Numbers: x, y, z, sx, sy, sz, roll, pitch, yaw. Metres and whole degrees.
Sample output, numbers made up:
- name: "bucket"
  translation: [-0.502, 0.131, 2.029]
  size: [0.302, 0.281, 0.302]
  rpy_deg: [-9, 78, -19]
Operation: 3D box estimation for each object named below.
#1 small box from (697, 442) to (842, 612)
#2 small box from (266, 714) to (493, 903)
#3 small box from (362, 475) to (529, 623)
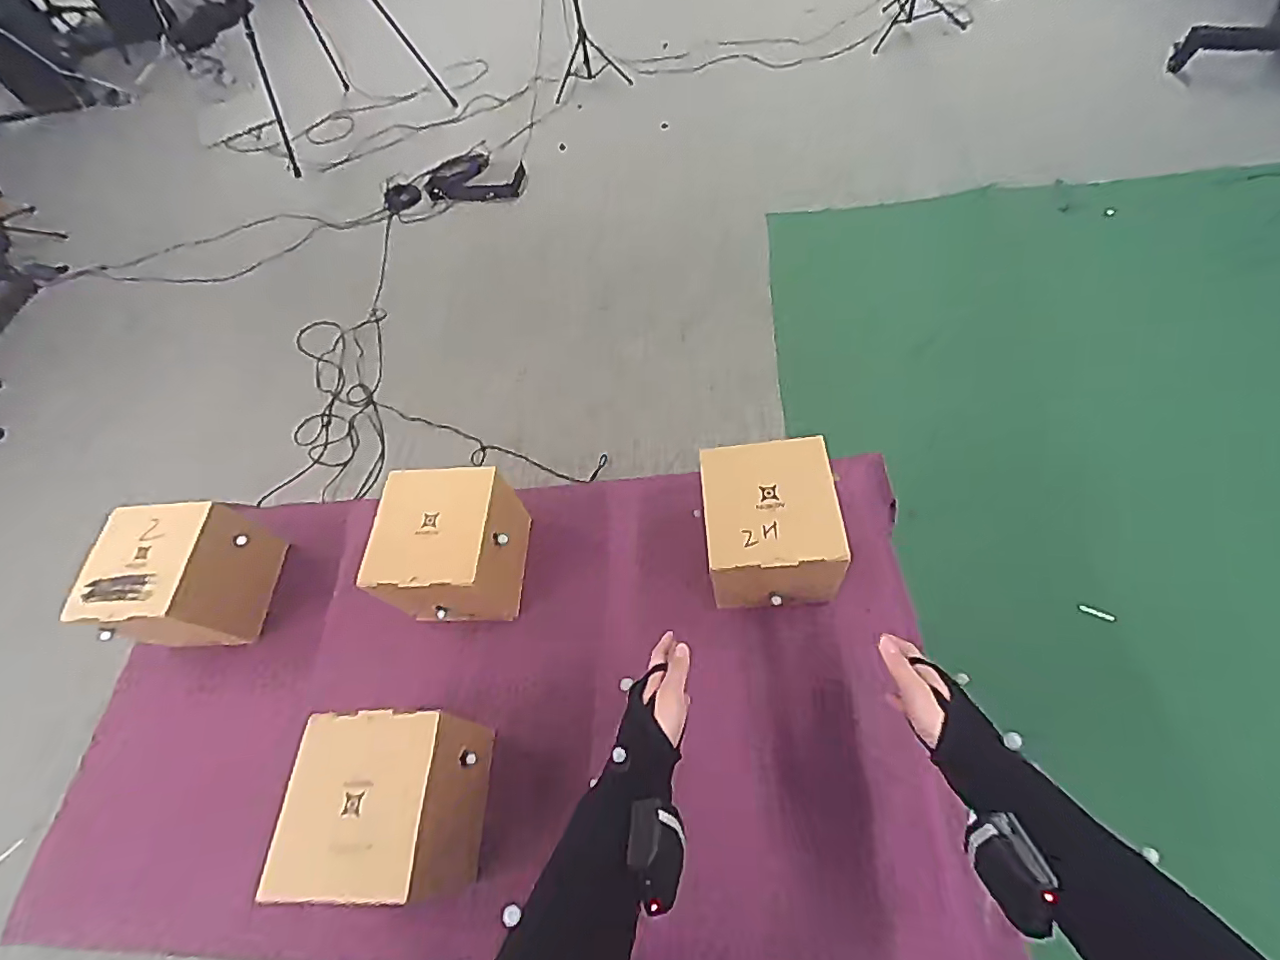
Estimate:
- name: "small box"
  translation: [0.172, 0.071, 0.753]
  size: [0.168, 0.176, 0.179]
  rpy_deg: [-7, 60, 10]
- name: "small box"
  translation: [-0.295, 0.393, 0.659]
  size: [0.168, 0.176, 0.179]
  rpy_deg: [-5, 59, 9]
- name: "small box"
  translation: [-0.278, 0.109, 0.820]
  size: [0.168, 0.176, 0.179]
  rpy_deg: [-2, 62, 9]
